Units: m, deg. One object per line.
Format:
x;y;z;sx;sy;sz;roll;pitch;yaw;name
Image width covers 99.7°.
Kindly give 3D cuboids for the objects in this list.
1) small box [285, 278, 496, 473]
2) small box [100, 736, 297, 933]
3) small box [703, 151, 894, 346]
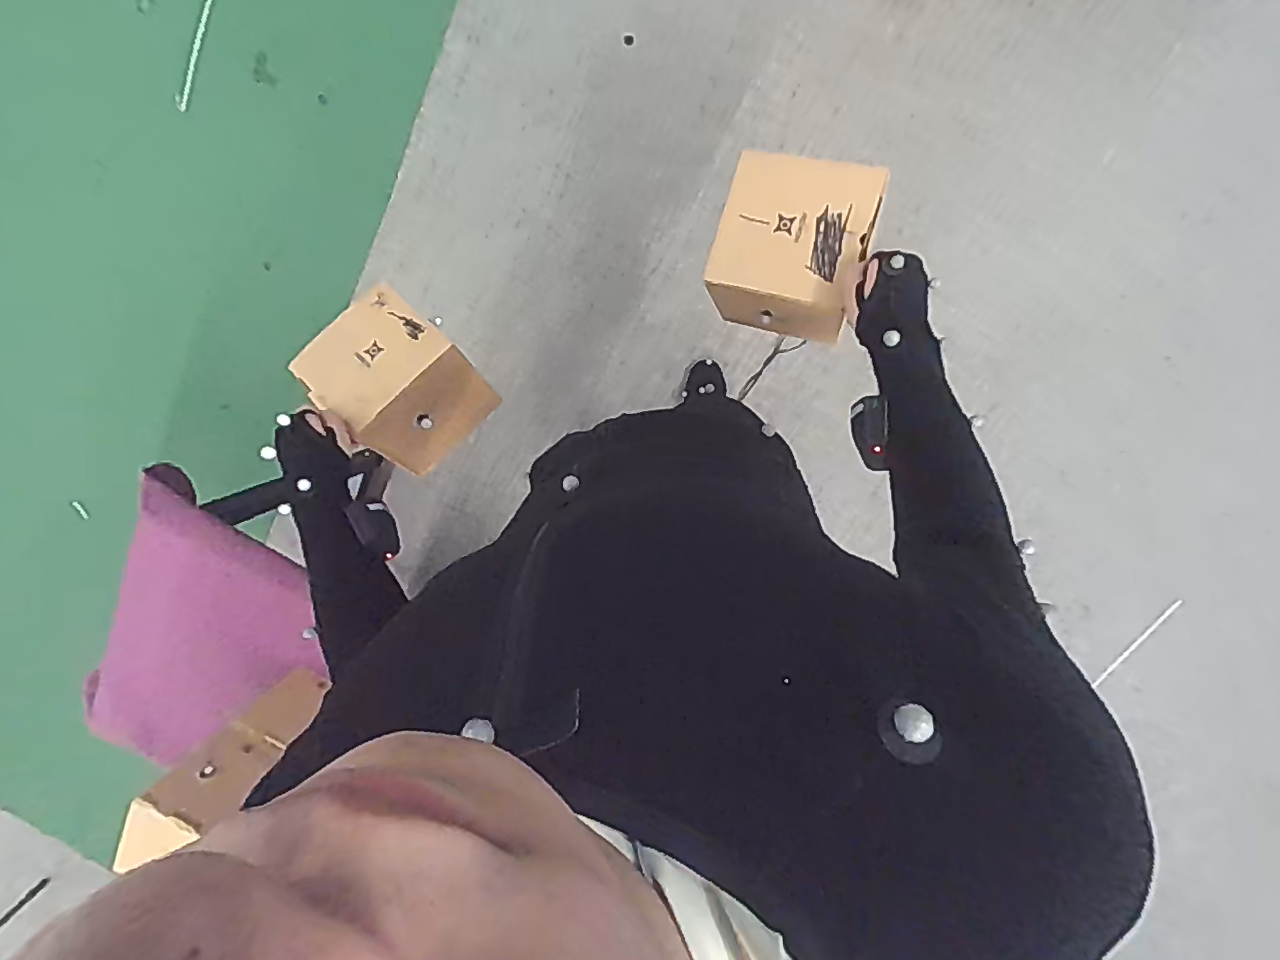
-0.339;-0.136;0.767;0.168;0.176;0.179;42;83;18;small box
-0.700;0.561;0.876;0.168;0.176;0.179;30;108;0;small box
0.203;-0.287;0.704;0.179;0.176;0.168;19;94;17;small box
